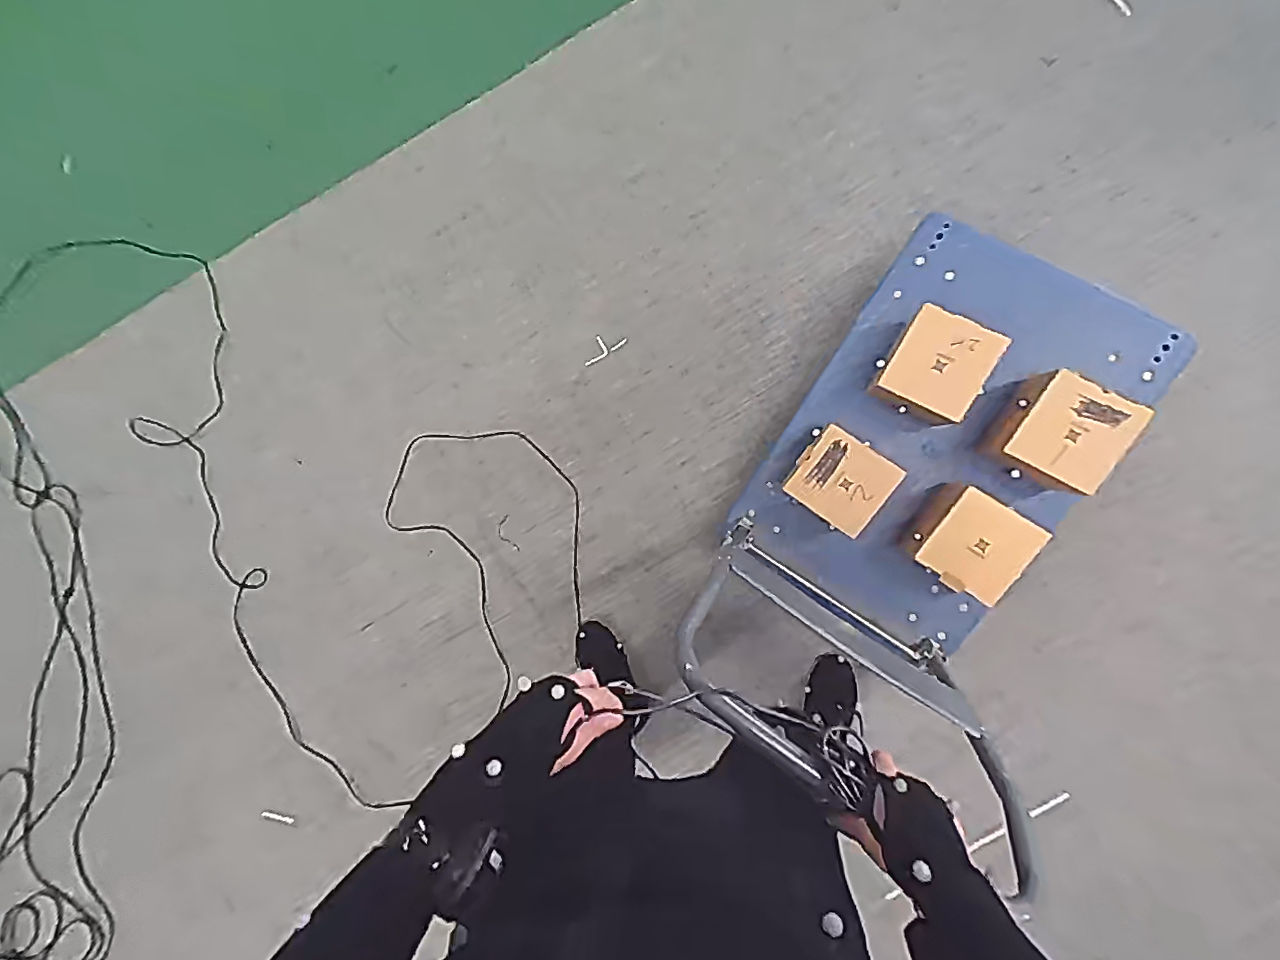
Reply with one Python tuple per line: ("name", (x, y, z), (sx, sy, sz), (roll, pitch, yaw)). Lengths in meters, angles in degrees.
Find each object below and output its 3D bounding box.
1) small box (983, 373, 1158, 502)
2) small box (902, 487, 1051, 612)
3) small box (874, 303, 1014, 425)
("small box", (0.800, -0.080, 1.032), (0.168, 0.176, 0.179), (33, 102, 12))
("small box", (0.657, 0.128, 1.086), (0.168, 0.176, 0.179), (37, 102, 11))
("small box", (0.591, -0.220, 1.082), (0.168, 0.176, 0.179), (31, 101, 11))
